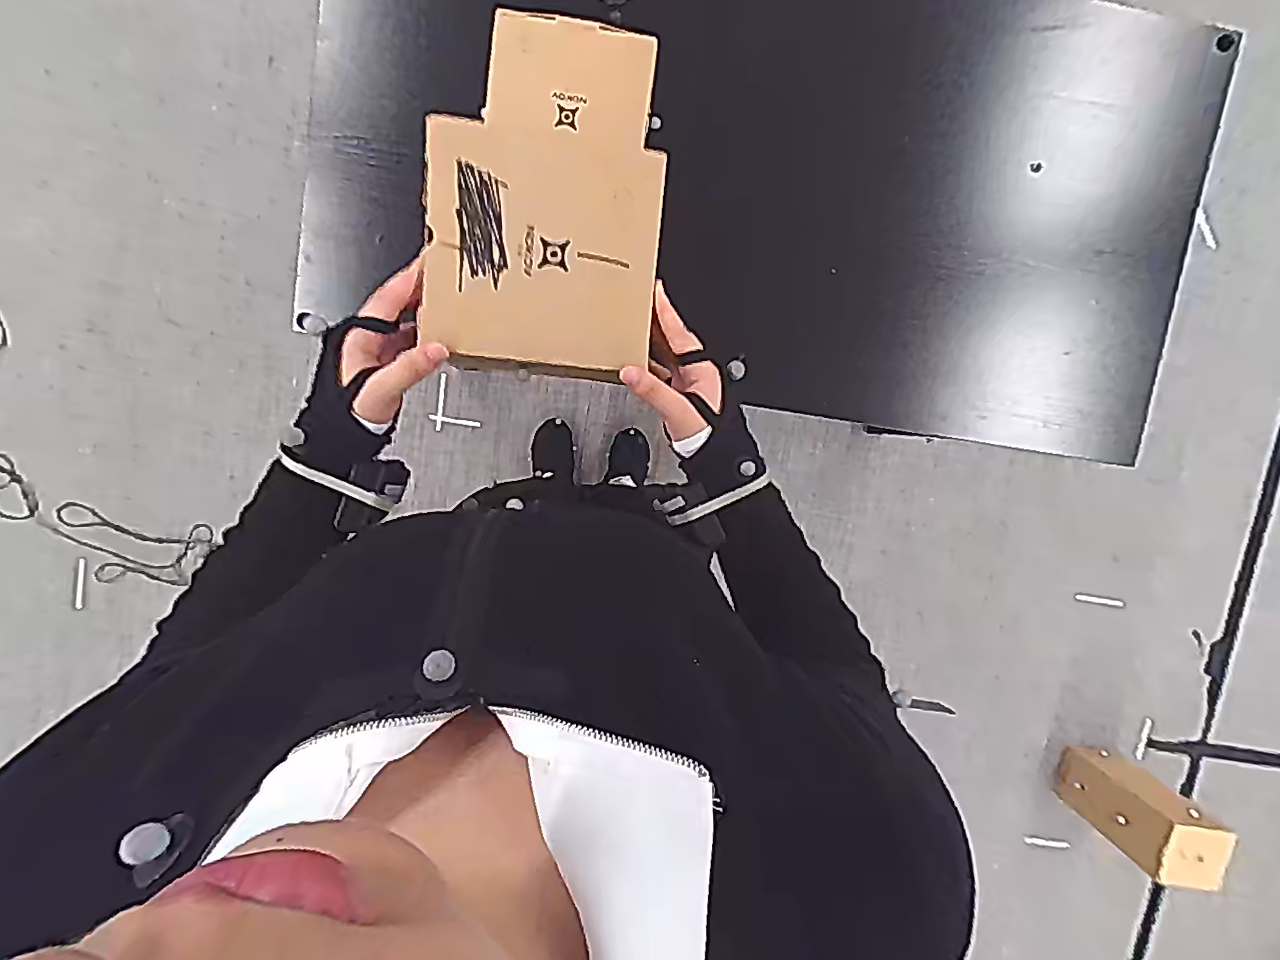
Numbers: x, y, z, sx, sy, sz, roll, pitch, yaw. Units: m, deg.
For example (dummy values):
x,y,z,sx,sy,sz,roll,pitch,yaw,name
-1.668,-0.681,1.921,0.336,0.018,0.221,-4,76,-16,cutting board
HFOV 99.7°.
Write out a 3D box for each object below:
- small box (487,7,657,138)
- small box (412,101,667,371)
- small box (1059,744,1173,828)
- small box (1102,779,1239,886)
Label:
x,y,z,sx,sy,sz,roll,pitch,yaw,name
-0.078,-0.388,0.633,0.168,0.176,0.179,7,97,-3,small box
-0.084,-0.189,0.477,0.179,0.176,0.168,5,98,-9,small box
1.402,0.914,1.607,0.179,0.176,0.168,9,97,-3,small box
1.404,0.930,1.442,0.179,0.176,0.168,11,96,-4,small box
